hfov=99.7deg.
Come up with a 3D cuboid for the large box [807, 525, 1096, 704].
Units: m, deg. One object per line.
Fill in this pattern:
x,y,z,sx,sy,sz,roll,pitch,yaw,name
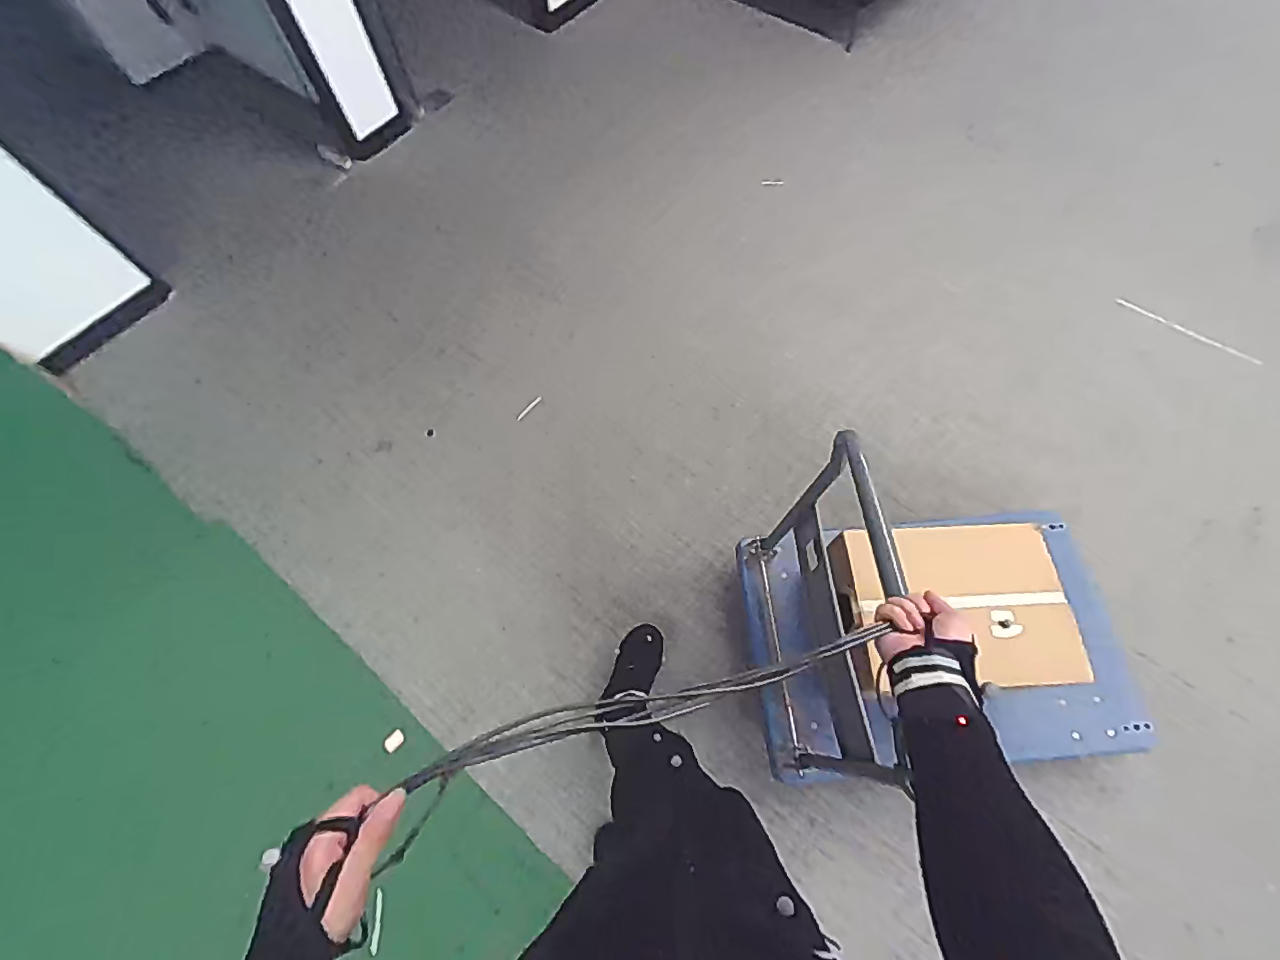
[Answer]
0.622,0.302,1.170,0.408,0.320,0.320,-2,66,-1,large box
